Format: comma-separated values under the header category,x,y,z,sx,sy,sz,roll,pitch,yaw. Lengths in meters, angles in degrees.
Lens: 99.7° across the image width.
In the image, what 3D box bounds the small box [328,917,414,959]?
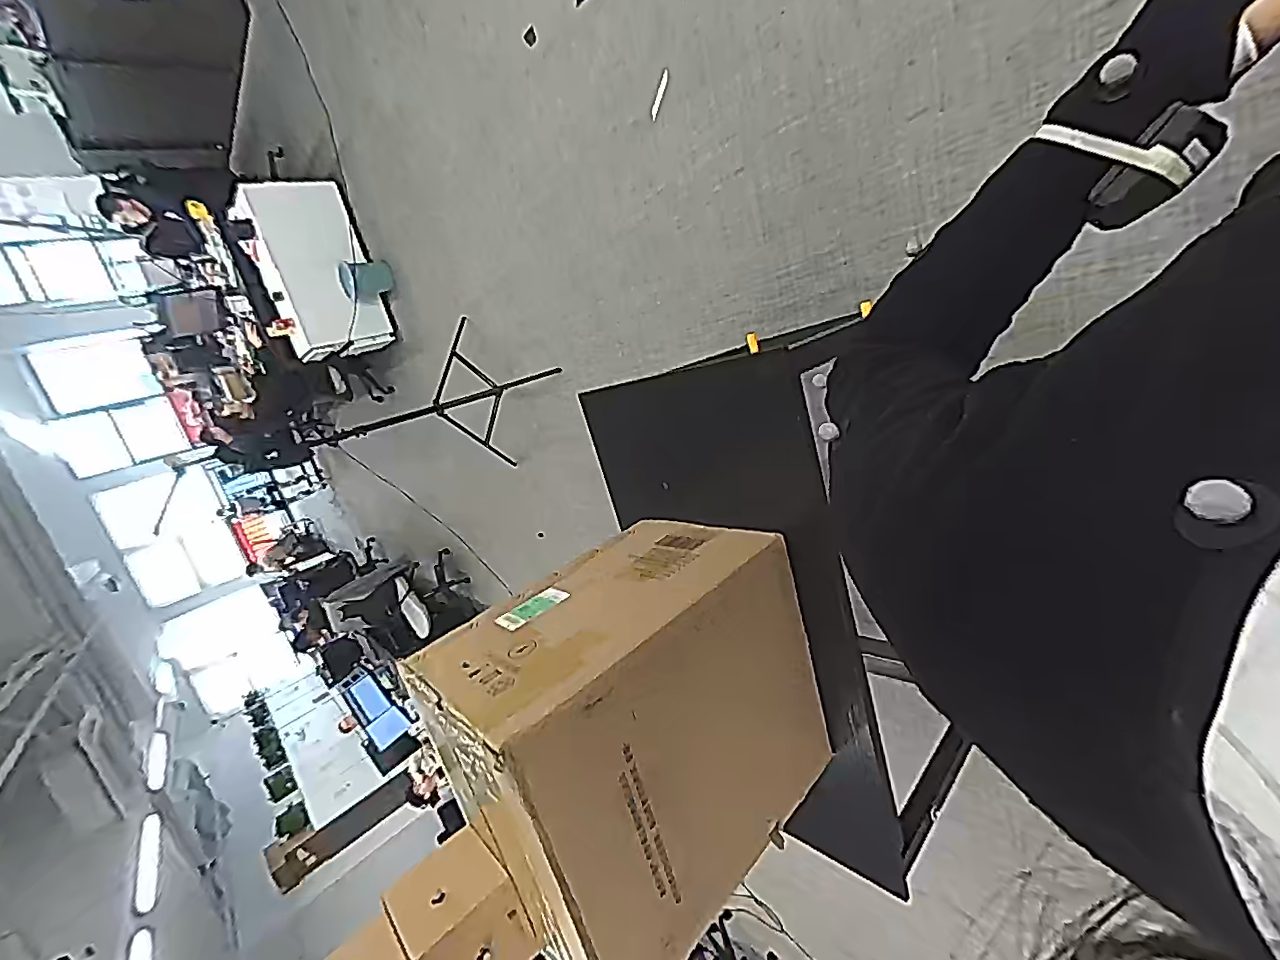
category,x,y,z,sx,sy,sz,roll,pitch,yaw
small box,-0.390,0.796,0.786,0.179,0.176,0.168,-4,109,51

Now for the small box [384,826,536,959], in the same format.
category,x,y,z,sx,sy,sz,roll,pitch,yaw
small box,-0.294,0.734,0.908,0.179,0.176,0.168,0,111,50
